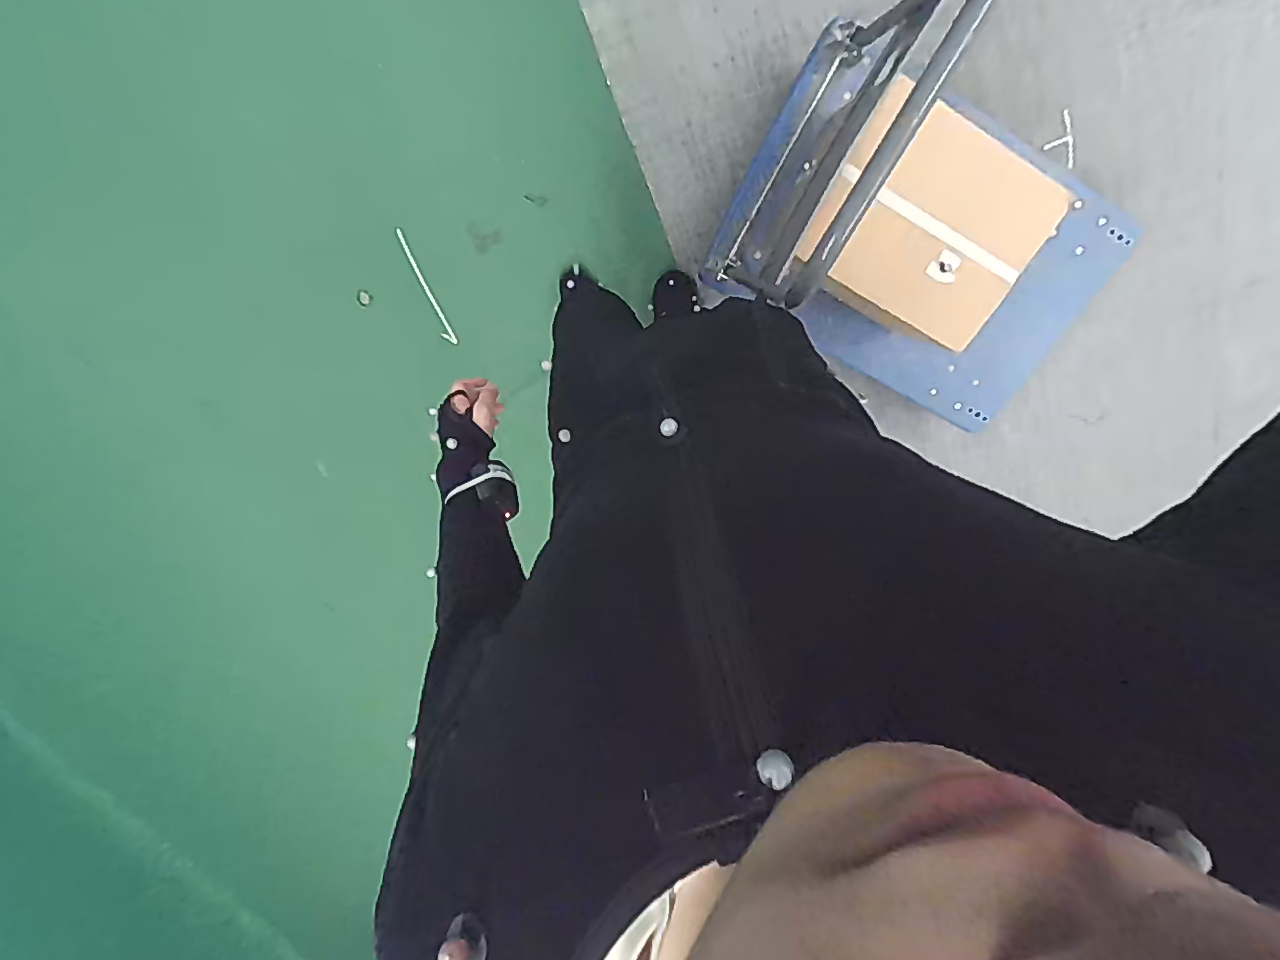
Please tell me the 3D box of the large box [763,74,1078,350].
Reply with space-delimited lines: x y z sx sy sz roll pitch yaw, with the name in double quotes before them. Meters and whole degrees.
"large box" 0.525 -0.516 1.101 0.408 0.320 0.320 26 112 -11
